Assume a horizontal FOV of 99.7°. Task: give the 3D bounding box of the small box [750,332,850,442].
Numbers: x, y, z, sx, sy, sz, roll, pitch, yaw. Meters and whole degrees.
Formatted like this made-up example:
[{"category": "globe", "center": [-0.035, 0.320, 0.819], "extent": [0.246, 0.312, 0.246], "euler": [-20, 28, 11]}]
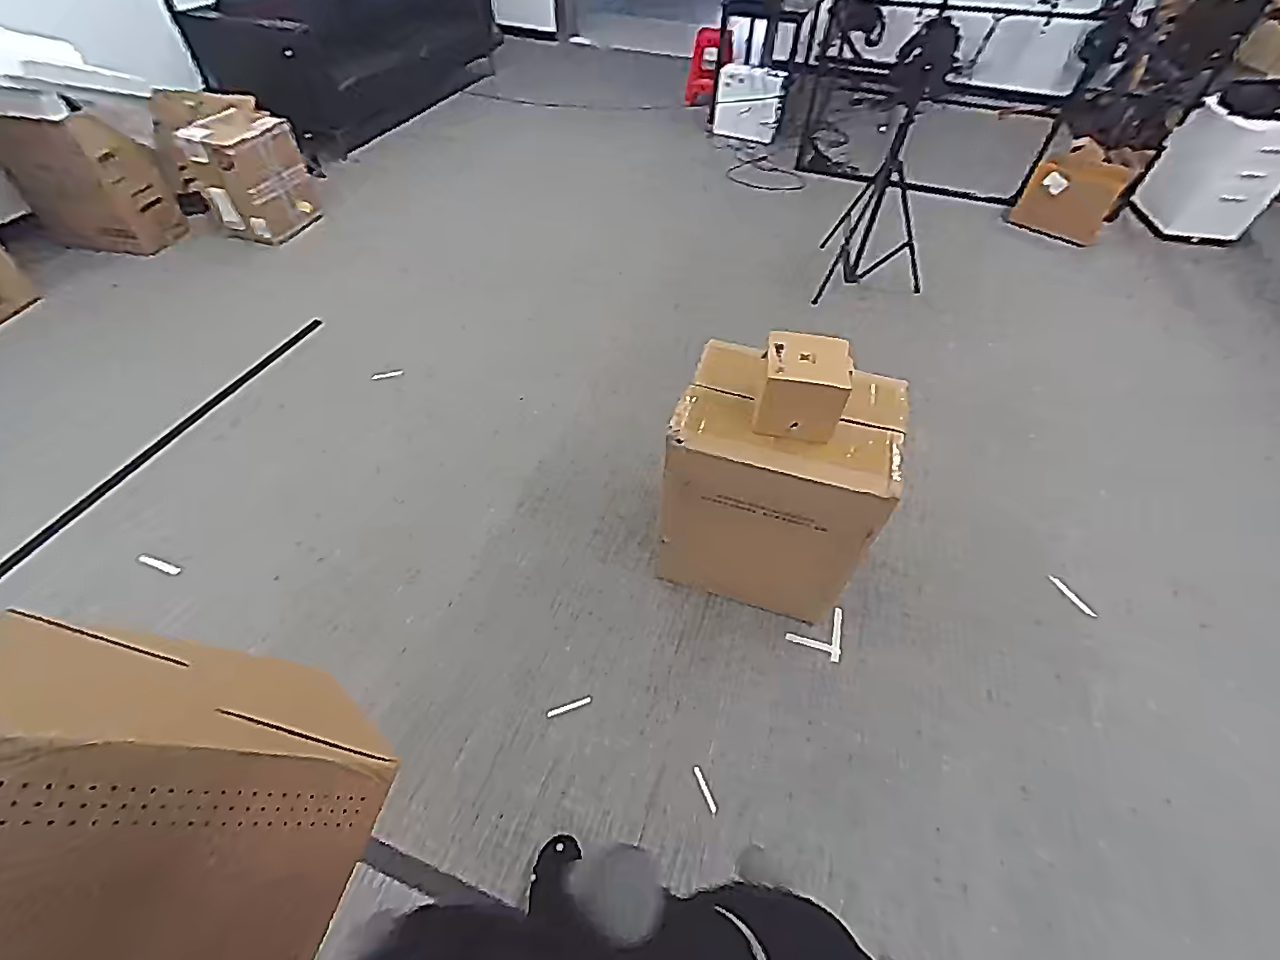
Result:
[{"category": "small box", "center": [0.354, -0.206, 1.216], "extent": [0.179, 0.176, 0.168], "euler": [9, 51, 5]}]
